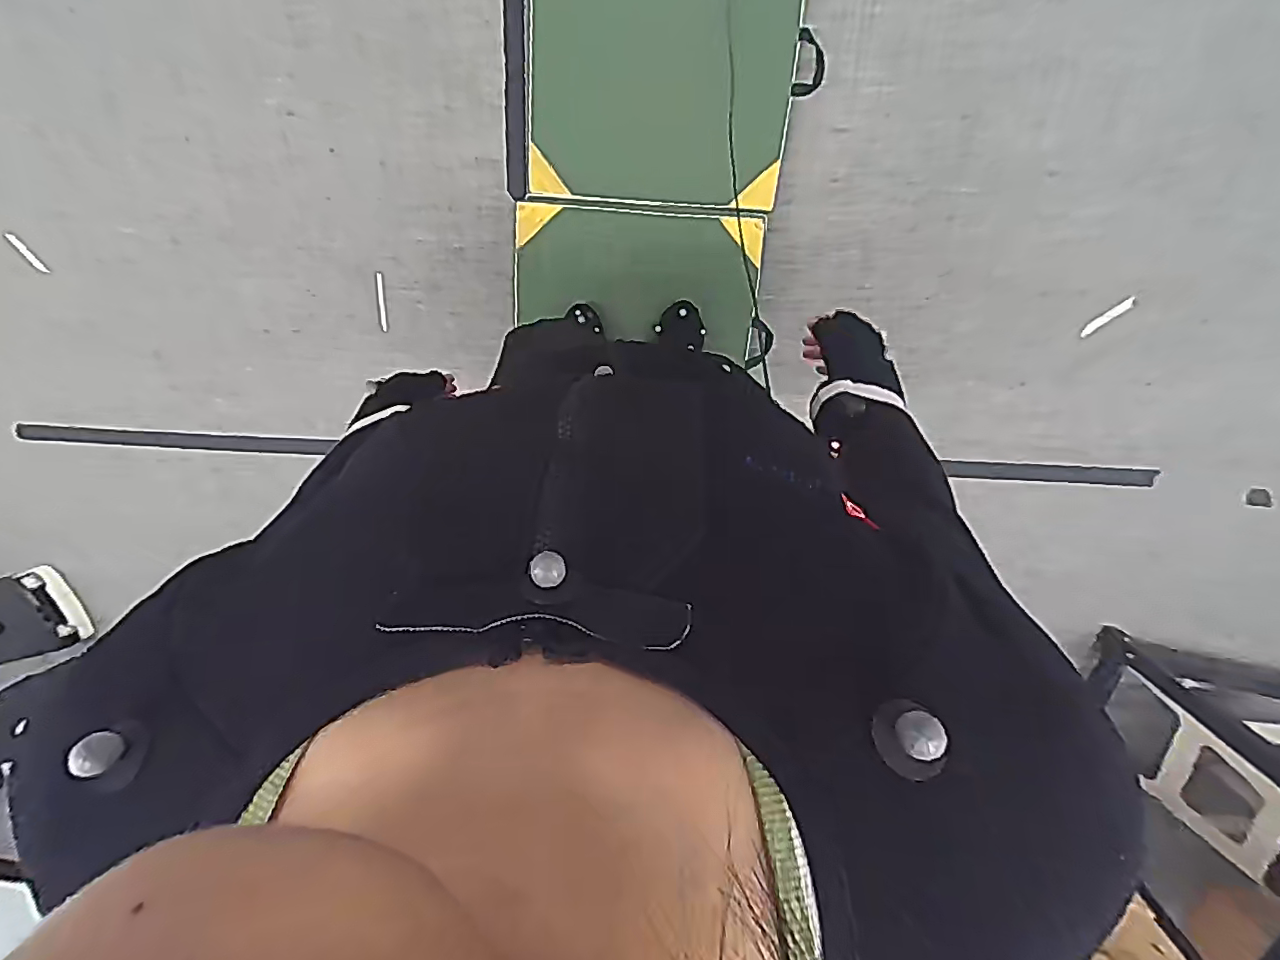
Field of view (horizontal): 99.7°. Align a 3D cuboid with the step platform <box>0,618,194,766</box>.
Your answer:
[{"bbox_3d":[-1.953,0.743,1.887,0.684,0.204,0.286,-24,105,11],"label":"step platform"}]
